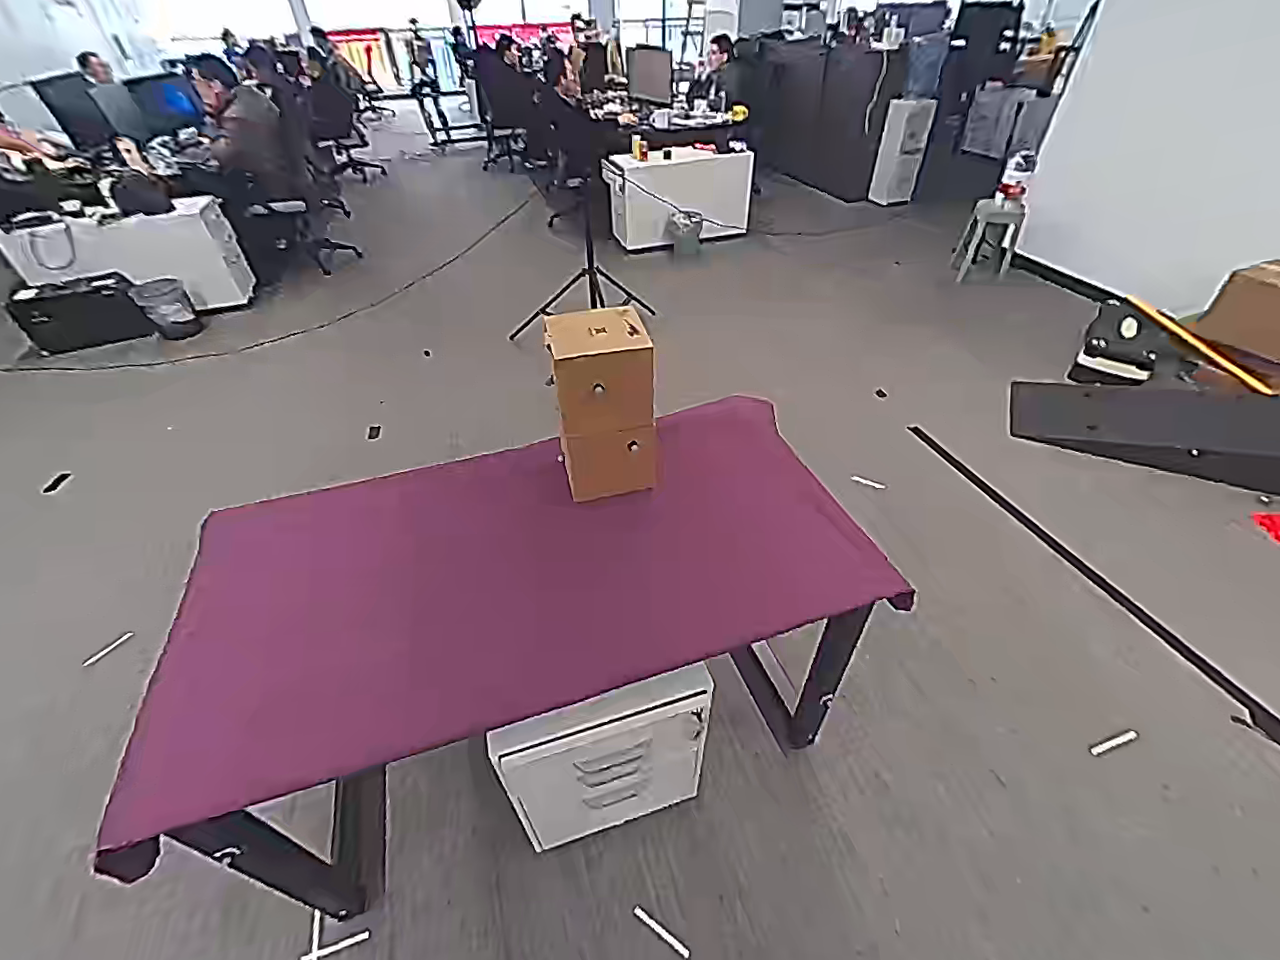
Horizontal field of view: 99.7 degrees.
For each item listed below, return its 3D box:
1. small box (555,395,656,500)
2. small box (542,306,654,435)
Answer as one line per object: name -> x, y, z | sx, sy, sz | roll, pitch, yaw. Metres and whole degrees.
small box -> -0.071, -0.081, 1.126 | 0.179, 0.176, 0.168 | -12, 43, -10
small box -> -0.077, -0.203, 1.016 | 0.179, 0.176, 0.168 | -11, 44, -8
